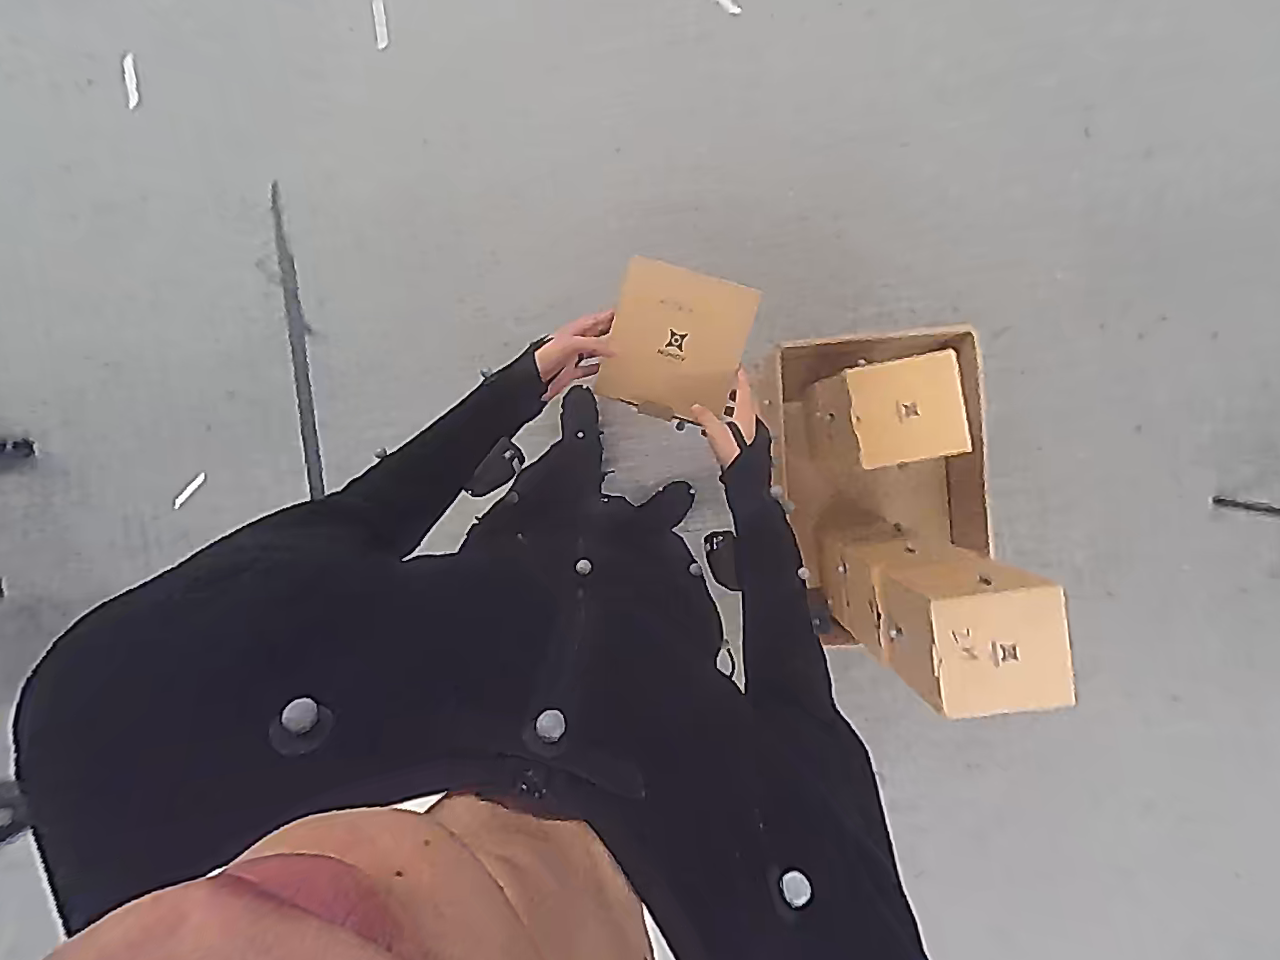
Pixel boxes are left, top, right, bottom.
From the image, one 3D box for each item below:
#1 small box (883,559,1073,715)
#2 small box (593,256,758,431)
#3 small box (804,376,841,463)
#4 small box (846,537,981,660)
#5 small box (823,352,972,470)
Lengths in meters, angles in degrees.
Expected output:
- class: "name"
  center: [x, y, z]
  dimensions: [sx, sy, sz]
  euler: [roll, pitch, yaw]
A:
- class: "small box"
  center: [0.487, 0.221, 0.800]
  dimensions: [0.179, 0.176, 0.168]
  euler: [-8, 94, 4]
- class: "small box"
  center: [0.048, -0.177, 0.737]
  dimensions: [0.168, 0.176, 0.179]
  euler: [16, 100, 1]
- class: "small box"
  center: [0.454, -0.129, 1.110]
  dimensions: [0.179, 0.176, 0.168]
  euler: [-8, 92, 3]
- class: "small box"
  center: [0.480, 0.203, 0.965]
  dimensions: [0.179, 0.176, 0.168]
  euler: [-7, 94, 3]
- class: "small box"
  center: [0.440, -0.117, 0.948]
  dimensions: [0.179, 0.176, 0.168]
  euler: [-11, 93, 5]
